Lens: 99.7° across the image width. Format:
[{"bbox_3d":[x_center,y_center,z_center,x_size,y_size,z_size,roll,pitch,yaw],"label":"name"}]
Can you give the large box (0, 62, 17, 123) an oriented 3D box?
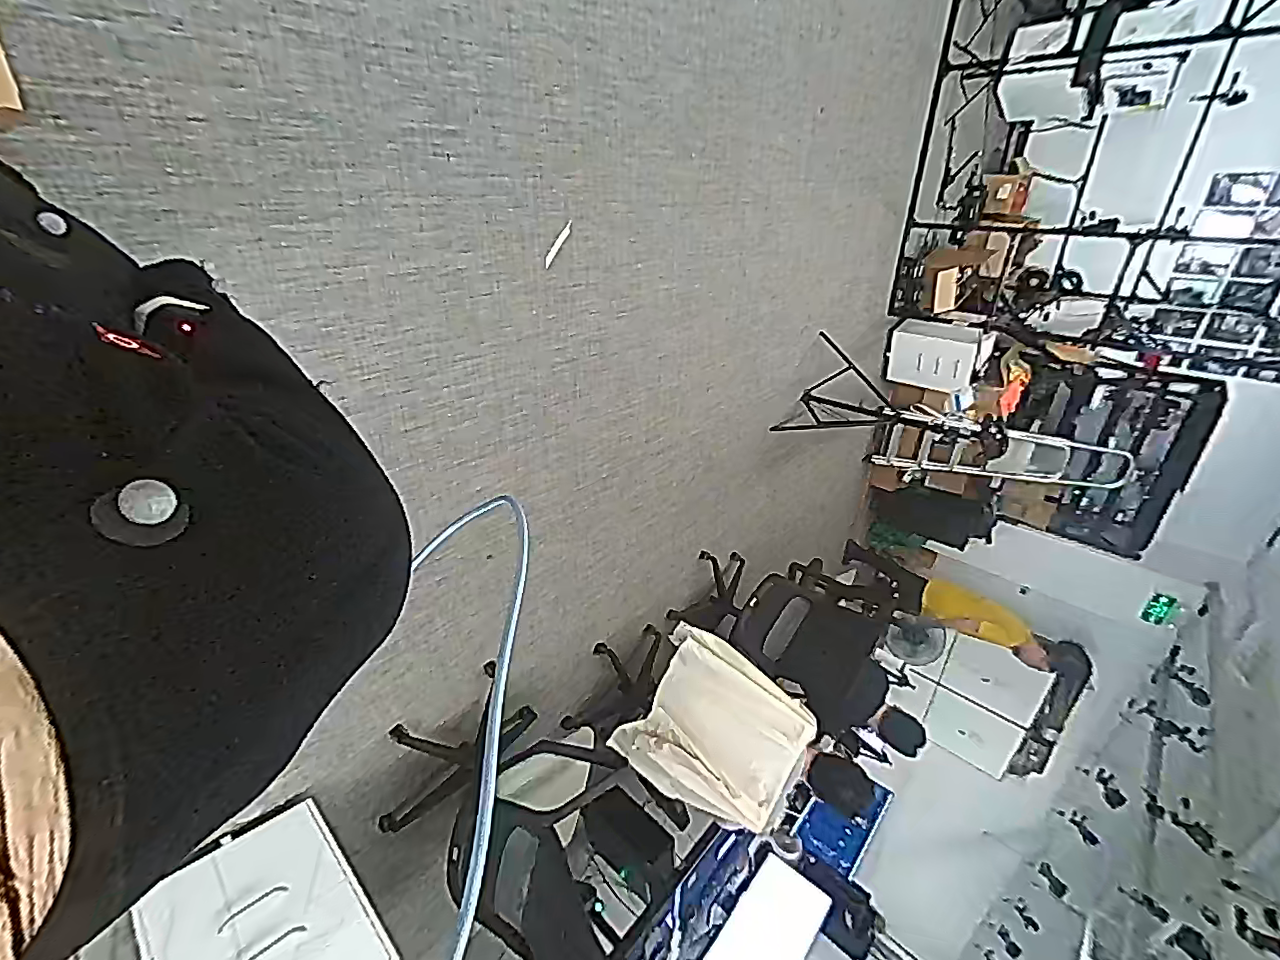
[{"bbox_3d":[-1.001,-0.575,0.553,0.408,0.320,0.320,-24,125,-43],"label":"large box"}]
